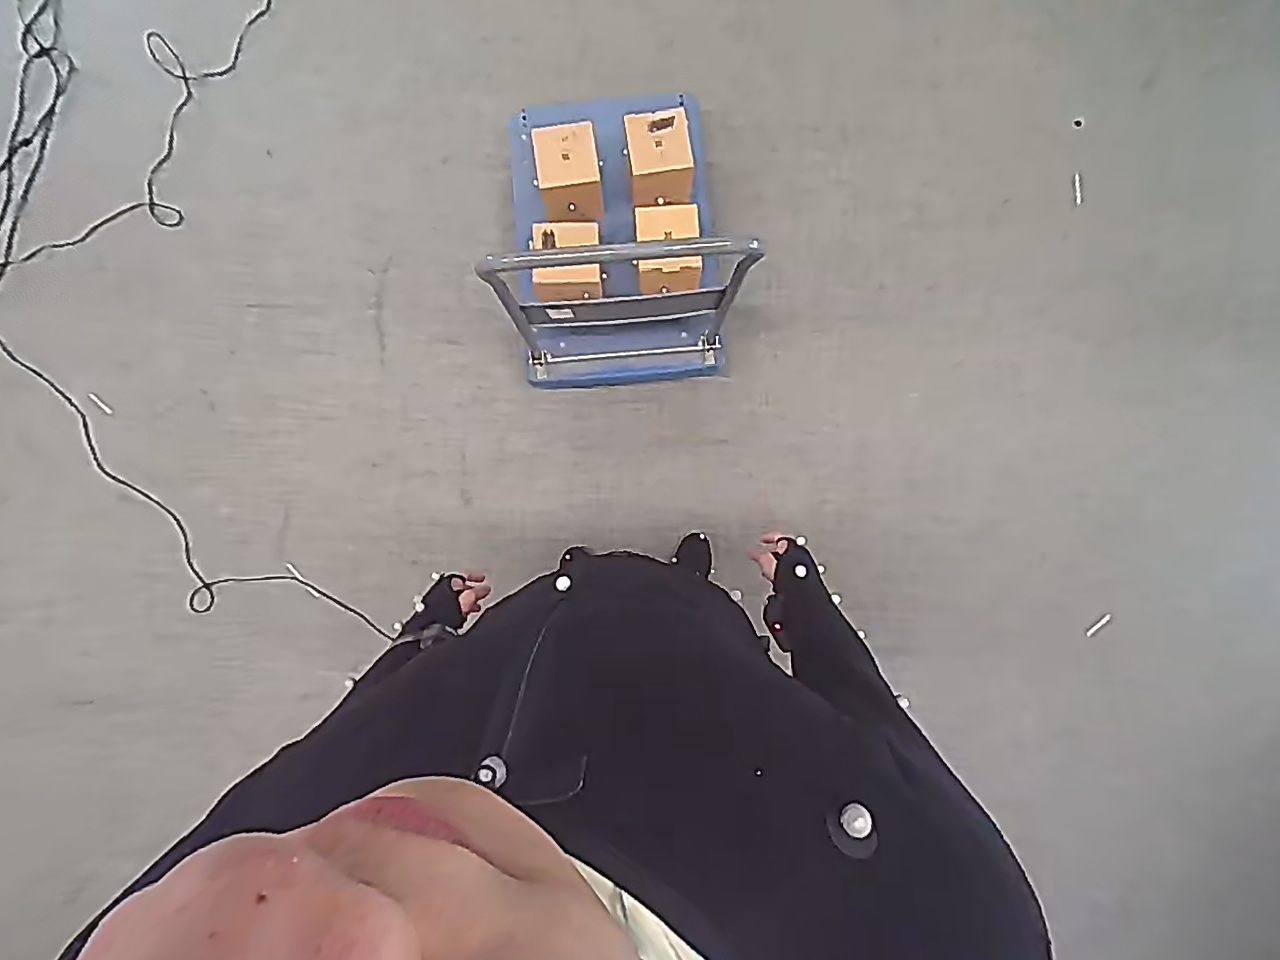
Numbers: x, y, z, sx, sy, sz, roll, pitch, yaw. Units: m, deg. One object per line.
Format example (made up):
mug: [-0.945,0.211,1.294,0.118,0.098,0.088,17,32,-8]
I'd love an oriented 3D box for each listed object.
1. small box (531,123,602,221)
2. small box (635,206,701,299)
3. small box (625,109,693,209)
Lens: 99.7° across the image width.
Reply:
small box: [-0.200,-0.850,1.513,0.168,0.176,0.179,-8,84,-2]
small box: [0.073,-0.621,1.489,0.168,0.176,0.179,-4,84,-1]
small box: [0.049,-0.890,1.516,0.168,0.176,0.179,-8,85,0]
